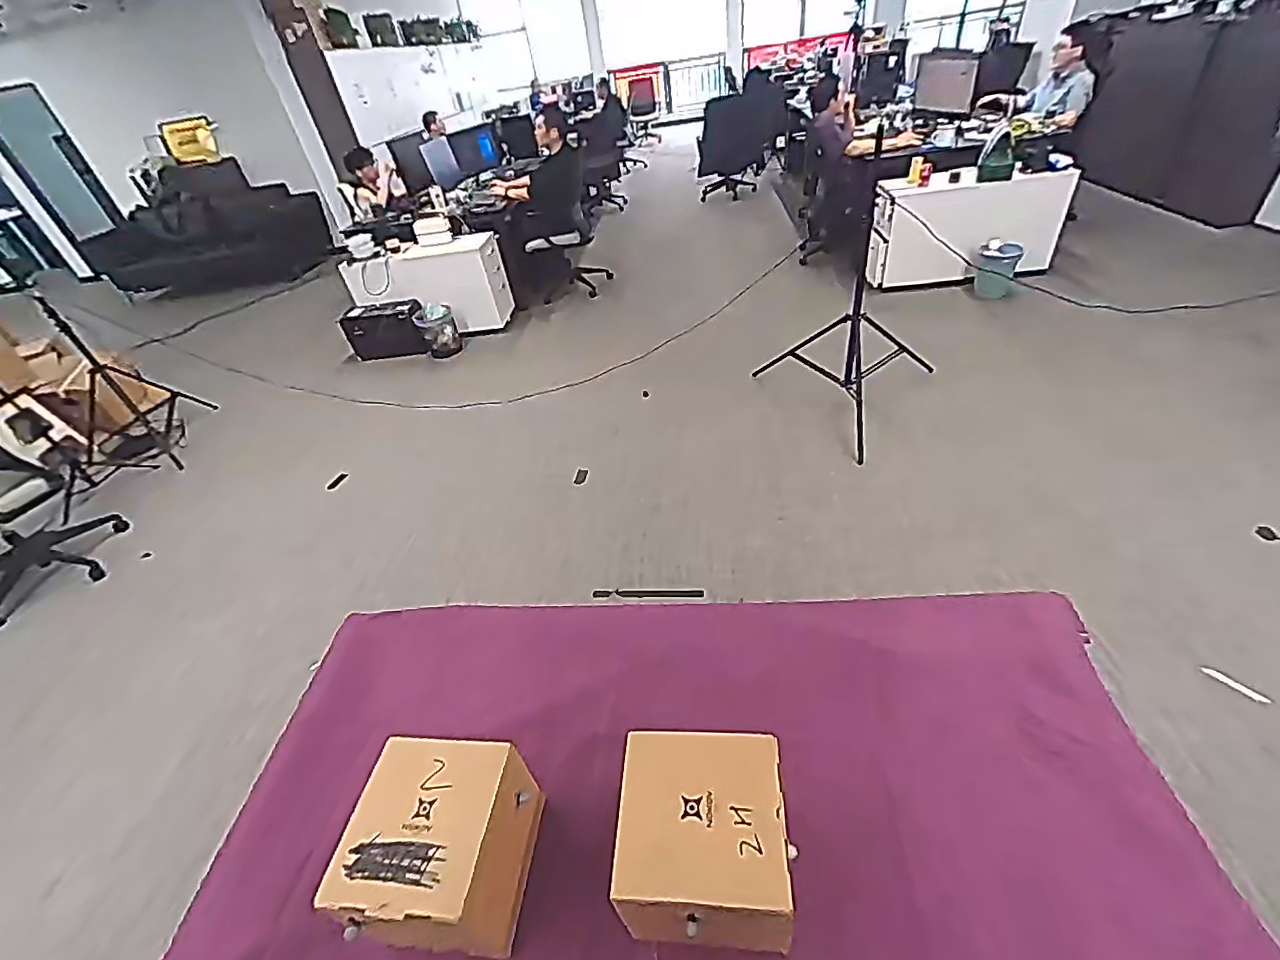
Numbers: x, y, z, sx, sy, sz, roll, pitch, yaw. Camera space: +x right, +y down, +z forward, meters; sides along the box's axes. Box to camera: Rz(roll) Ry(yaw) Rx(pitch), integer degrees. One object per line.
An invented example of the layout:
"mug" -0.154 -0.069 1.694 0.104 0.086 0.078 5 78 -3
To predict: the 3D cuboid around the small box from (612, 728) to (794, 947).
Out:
"small box" 0.078 0.406 0.619 0.179 0.176 0.168 -2 40 9
